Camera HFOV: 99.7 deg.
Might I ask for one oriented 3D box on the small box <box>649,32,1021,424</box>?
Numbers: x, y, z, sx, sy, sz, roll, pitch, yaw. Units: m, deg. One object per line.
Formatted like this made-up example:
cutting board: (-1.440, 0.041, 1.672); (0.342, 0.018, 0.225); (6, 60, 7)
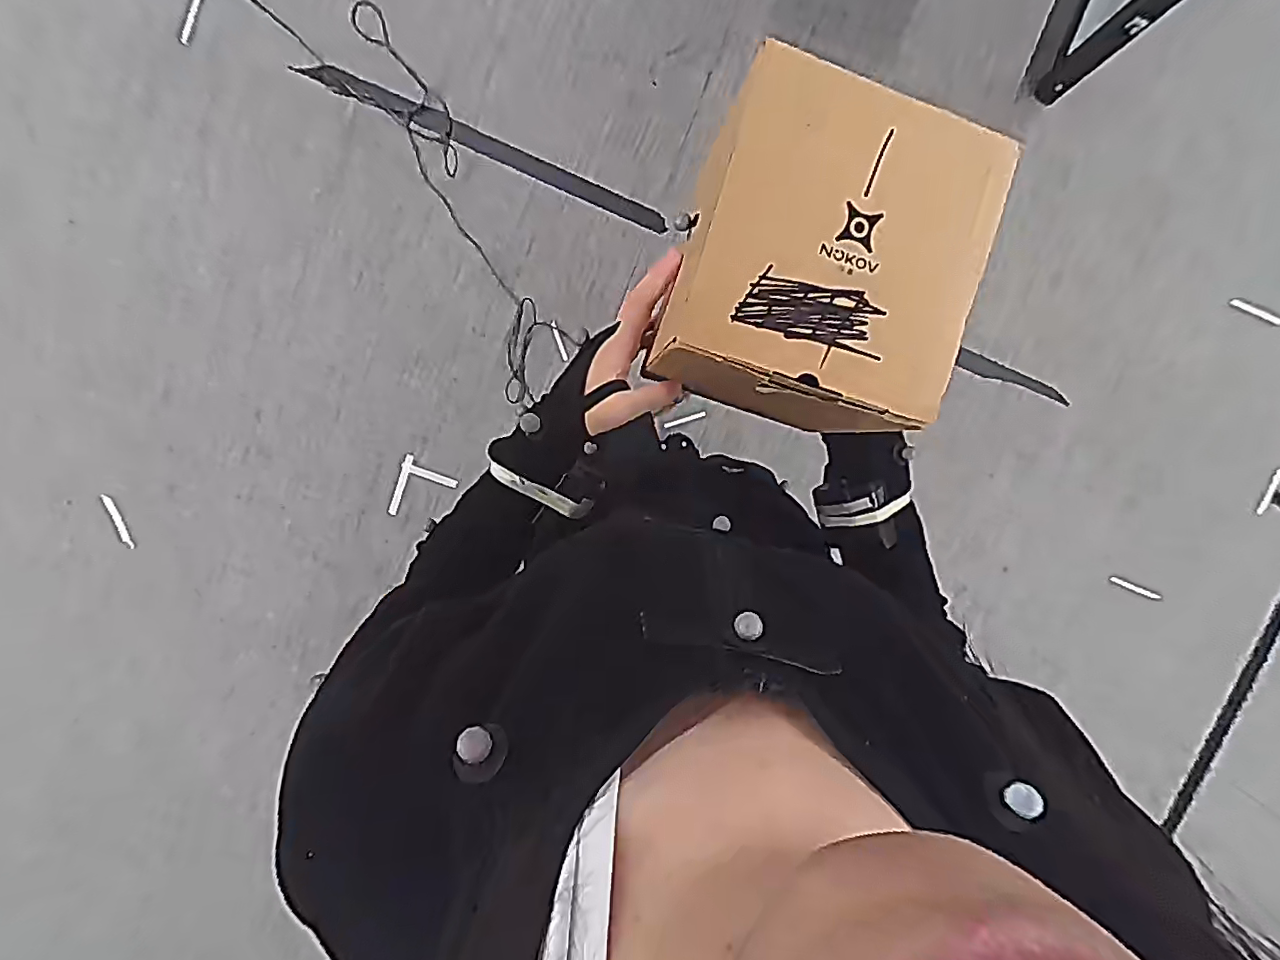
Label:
small box: (0.111, -0.145, 0.386); (0.168, 0.176, 0.179); (17, 91, -8)
